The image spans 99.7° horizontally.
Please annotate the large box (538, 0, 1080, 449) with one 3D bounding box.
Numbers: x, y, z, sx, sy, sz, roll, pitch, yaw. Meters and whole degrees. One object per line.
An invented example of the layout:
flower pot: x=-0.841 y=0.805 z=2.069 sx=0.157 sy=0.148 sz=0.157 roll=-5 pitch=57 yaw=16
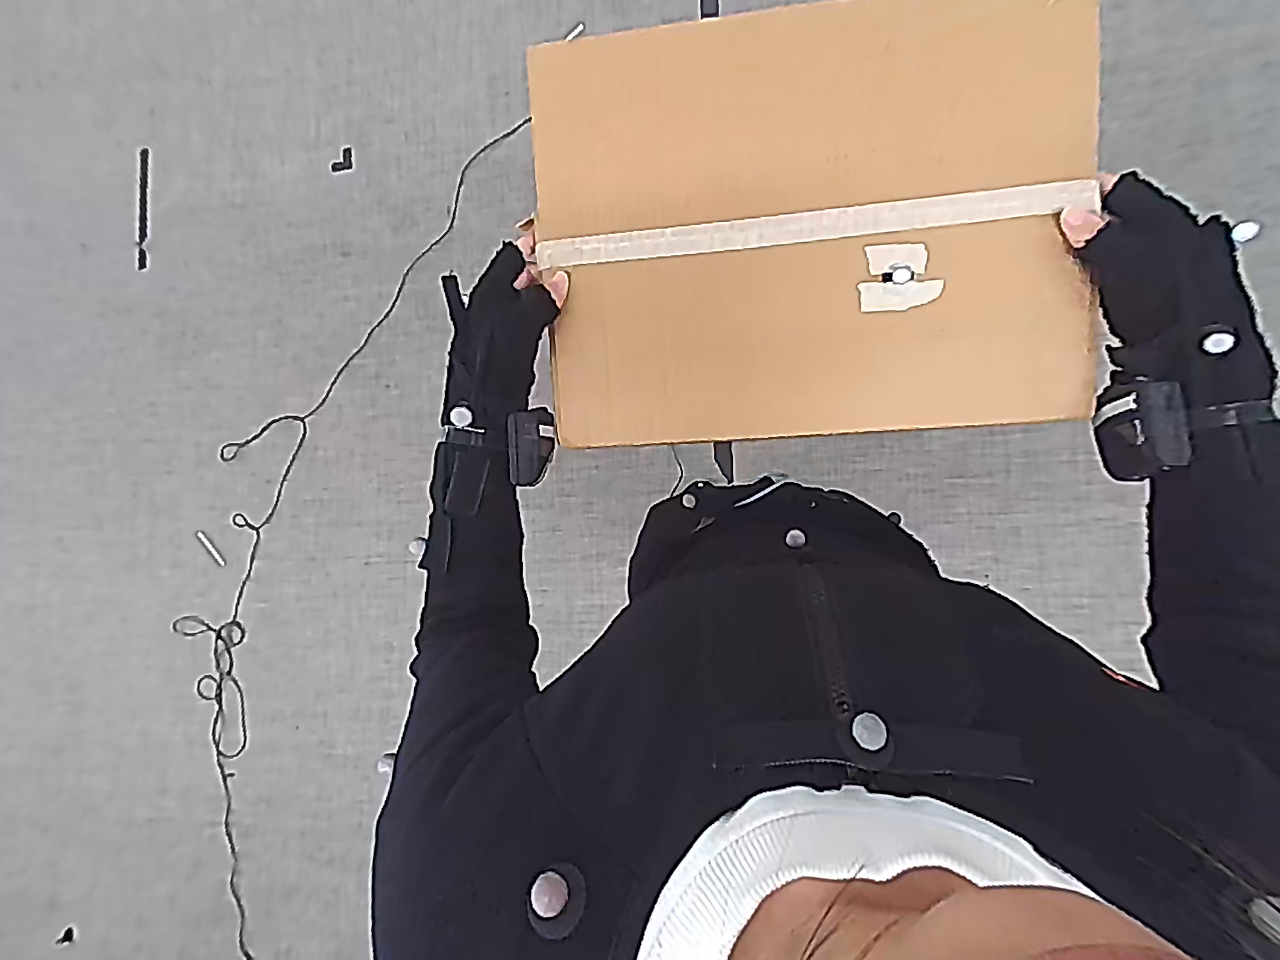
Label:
large box: x=0.140 y=-0.206 z=0.568 sx=0.408 sy=0.320 sz=0.320 roll=-4 pitch=96 yaw=7
